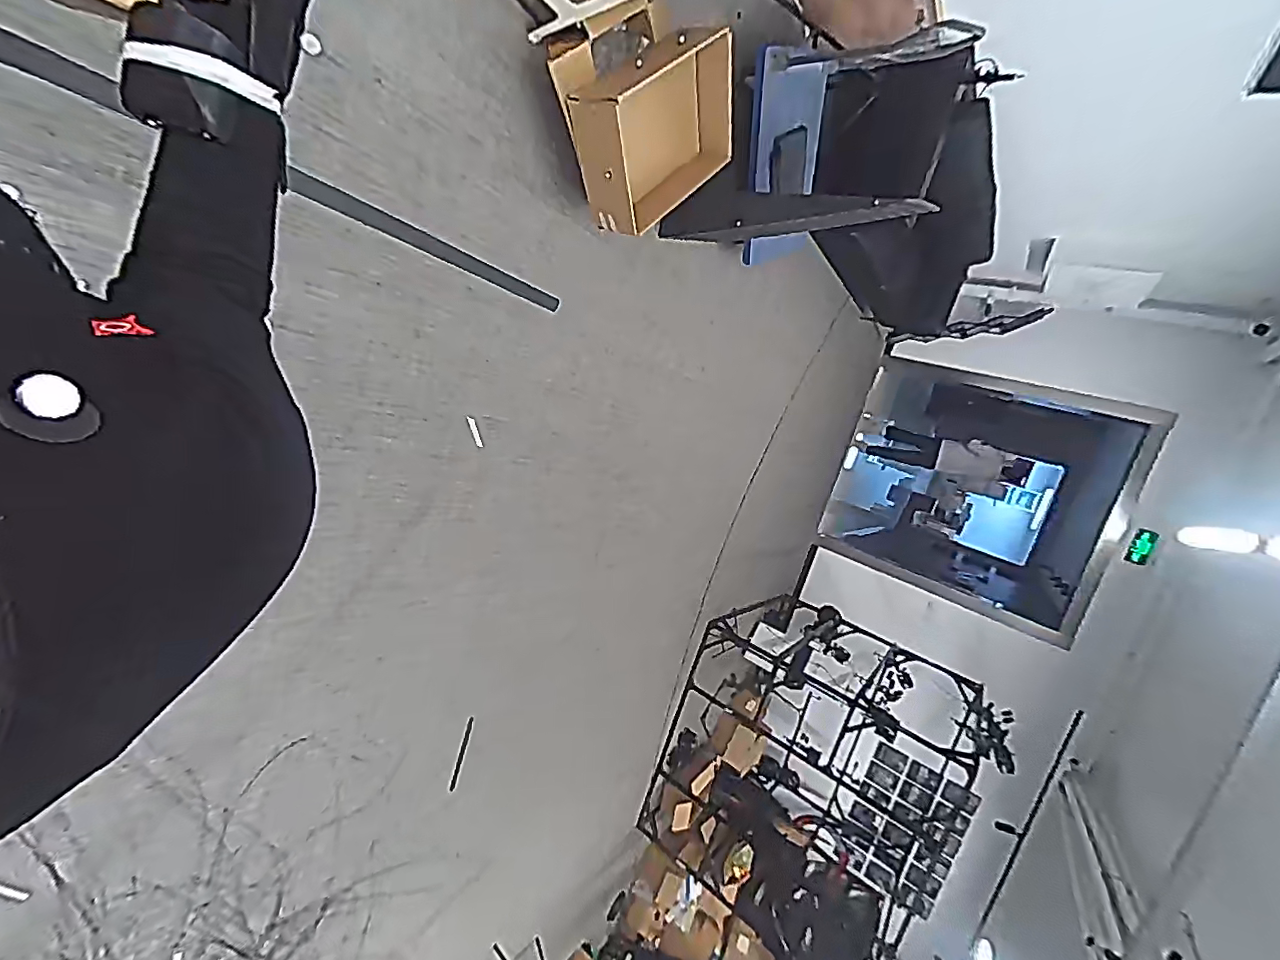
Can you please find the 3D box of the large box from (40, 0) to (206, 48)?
[{"bbox_3d":[-0.468,-0.482,0.224,0.408,0.320,0.320,-7,125,-58],"label":"large box"}]
